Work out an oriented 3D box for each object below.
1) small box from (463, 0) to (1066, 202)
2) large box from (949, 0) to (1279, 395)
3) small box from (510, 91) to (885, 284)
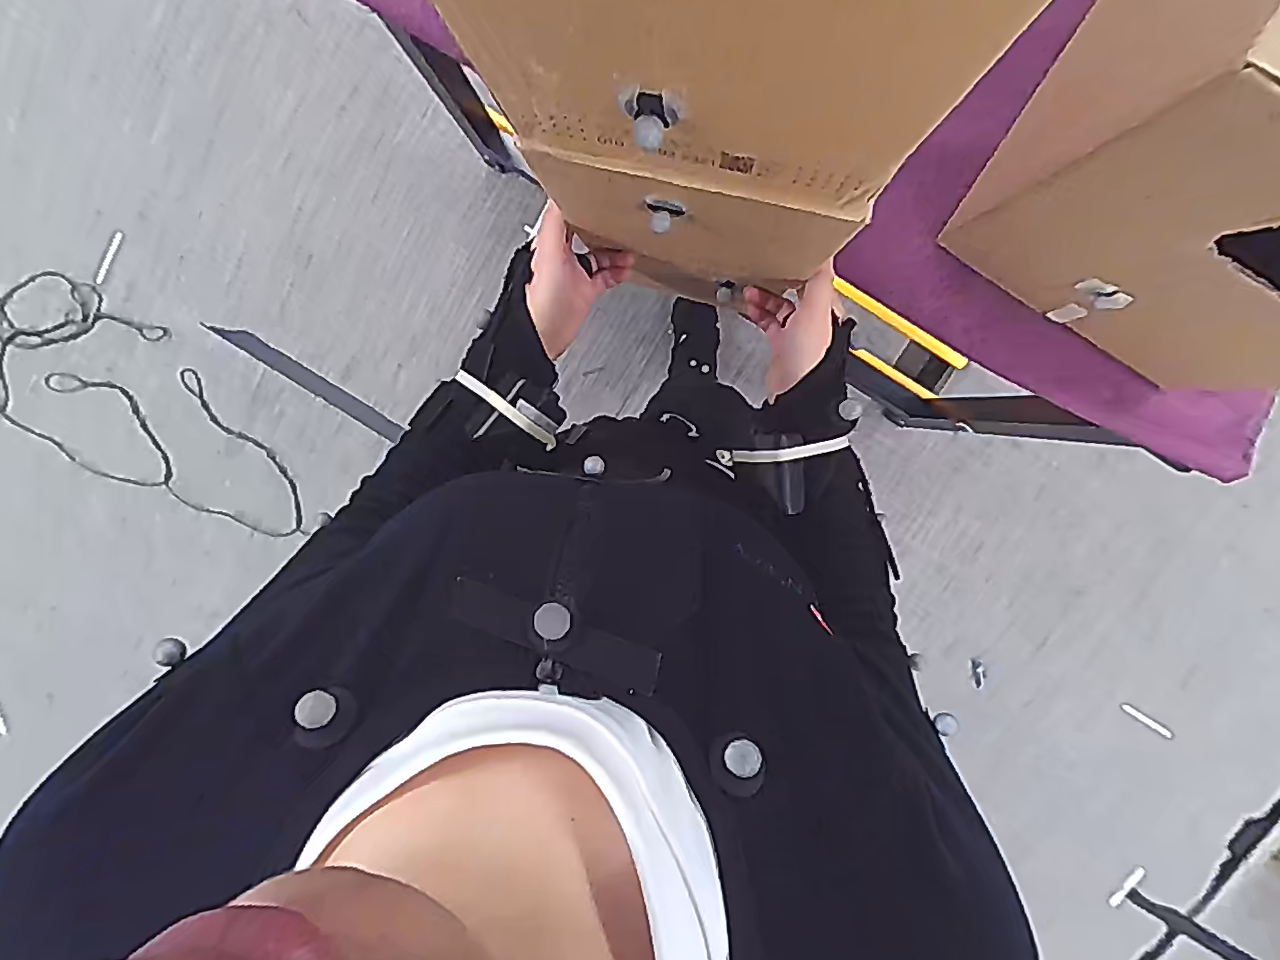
[{"bbox_3d":[0.034,-0.210,0.153,0.168,0.176,0.179,13,101,3],"label":"small box"},{"bbox_3d":[0.542,-0.316,0.407,0.320,0.320,0.408,31,97,-3],"label":"large box"},{"bbox_3d":[0.048,-0.226,0.314,0.179,0.176,0.168,14,100,2],"label":"small box"}]
